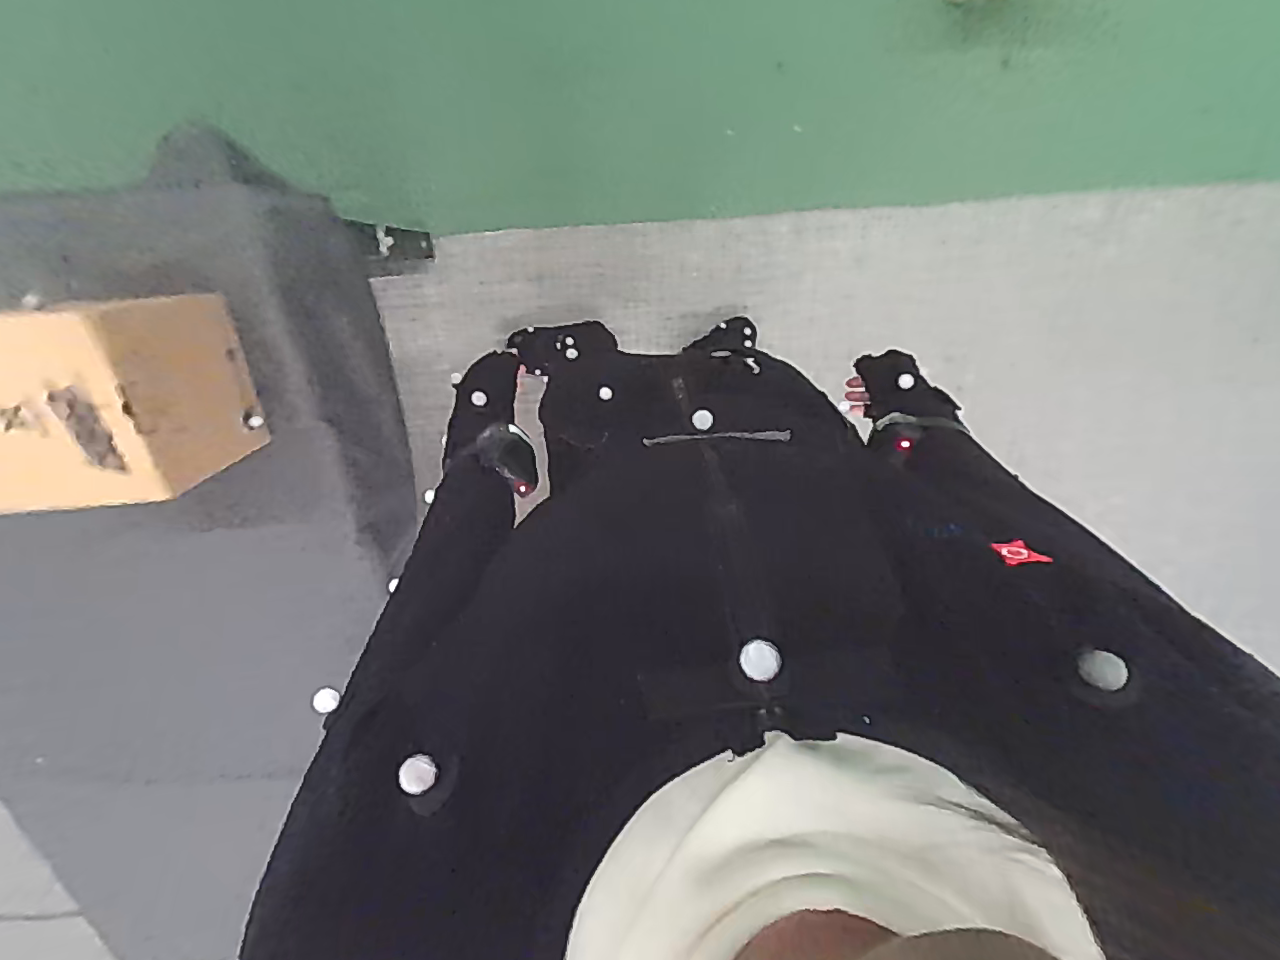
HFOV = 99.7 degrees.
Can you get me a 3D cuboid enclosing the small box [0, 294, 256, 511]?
[{"bbox_3d":[-0.514,-0.084,0.521,0.179,0.176,0.168,-4,113,-1],"label":"small box"}]
